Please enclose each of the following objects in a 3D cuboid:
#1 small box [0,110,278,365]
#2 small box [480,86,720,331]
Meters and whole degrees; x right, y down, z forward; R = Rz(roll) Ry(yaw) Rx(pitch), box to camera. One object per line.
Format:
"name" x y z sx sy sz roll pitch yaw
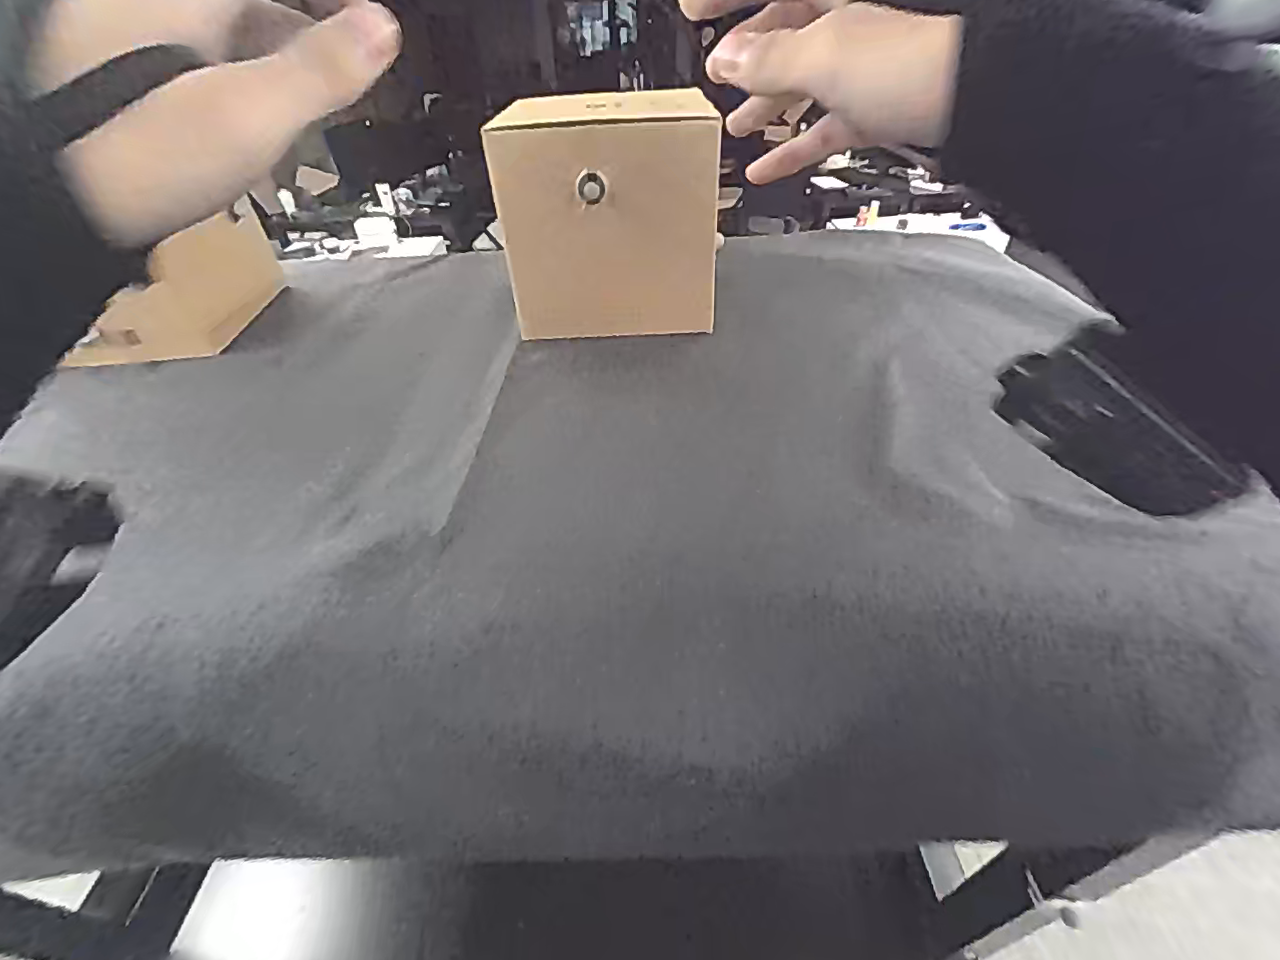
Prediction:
"small box" -0.473 -0.222 0.492 0.168 0.176 0.179 -6 41 -3
"small box" -0.024 -0.245 0.494 0.179 0.176 0.168 -1 41 1
